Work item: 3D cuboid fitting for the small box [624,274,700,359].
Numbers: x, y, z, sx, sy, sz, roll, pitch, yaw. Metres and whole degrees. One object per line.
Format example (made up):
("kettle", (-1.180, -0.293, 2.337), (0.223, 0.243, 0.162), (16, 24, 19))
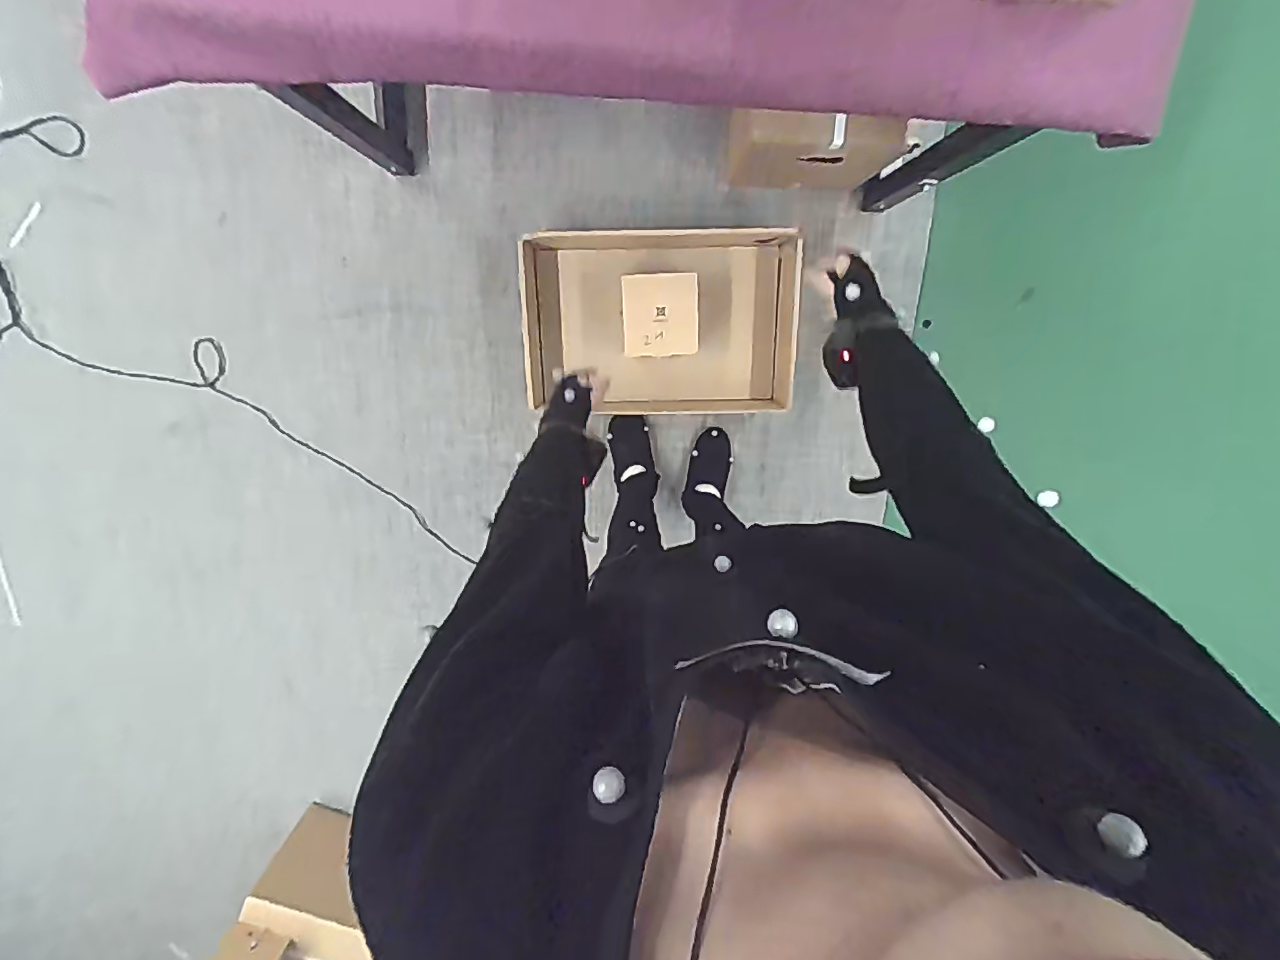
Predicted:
("small box", (0.047, -0.372, 1.249), (0.168, 0.176, 0.179), (-2, 105, 1))
